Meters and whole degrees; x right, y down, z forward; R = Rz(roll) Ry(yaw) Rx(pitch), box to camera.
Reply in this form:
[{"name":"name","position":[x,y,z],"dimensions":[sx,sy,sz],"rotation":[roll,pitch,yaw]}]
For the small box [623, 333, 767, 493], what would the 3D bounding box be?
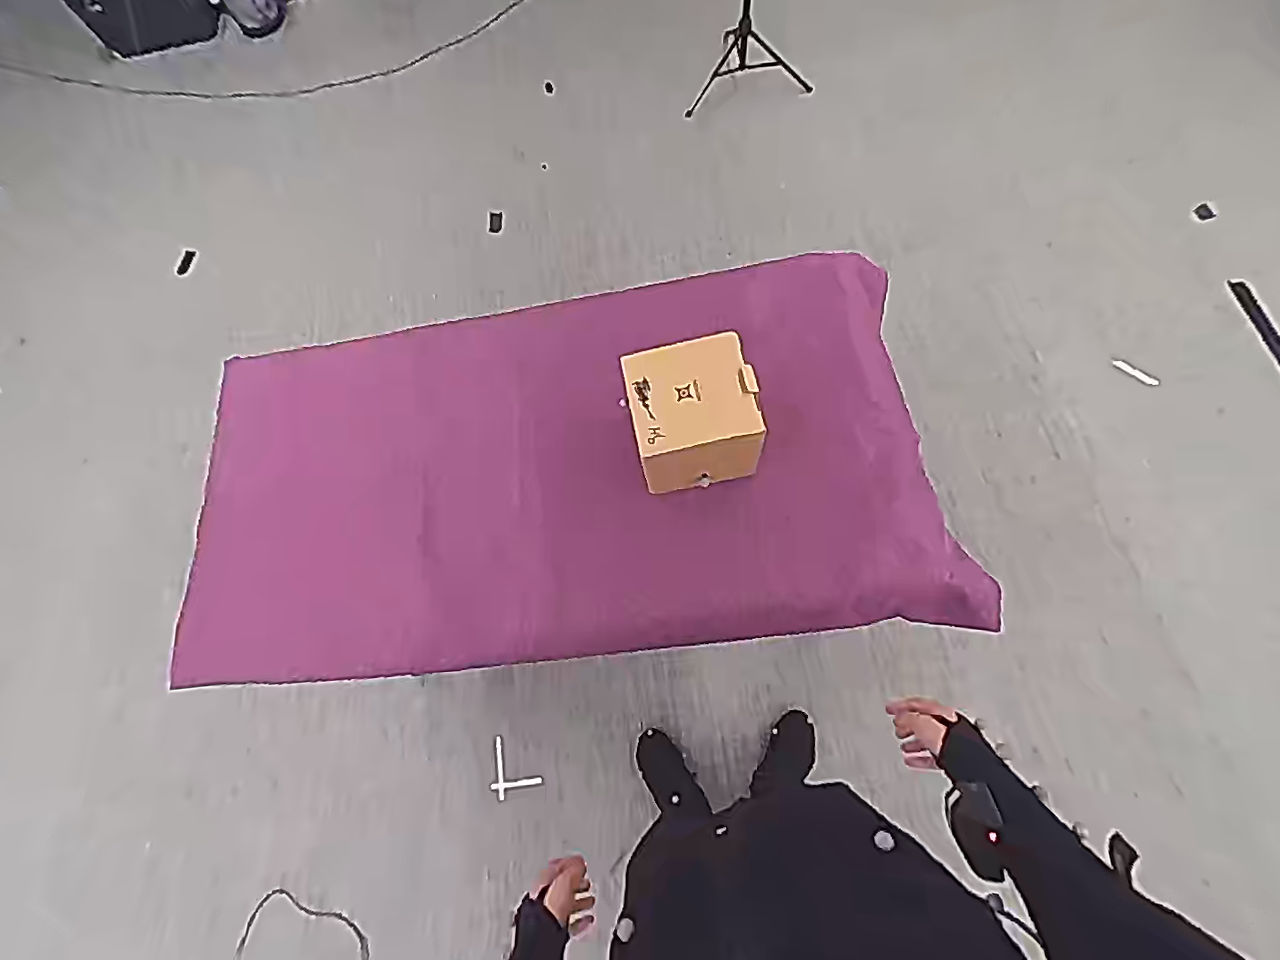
[{"name":"small box","position":[0.079,-0.094,0.824],"dimensions":[0.179,0.176,0.168],"rotation":[-12,69,2]}]
